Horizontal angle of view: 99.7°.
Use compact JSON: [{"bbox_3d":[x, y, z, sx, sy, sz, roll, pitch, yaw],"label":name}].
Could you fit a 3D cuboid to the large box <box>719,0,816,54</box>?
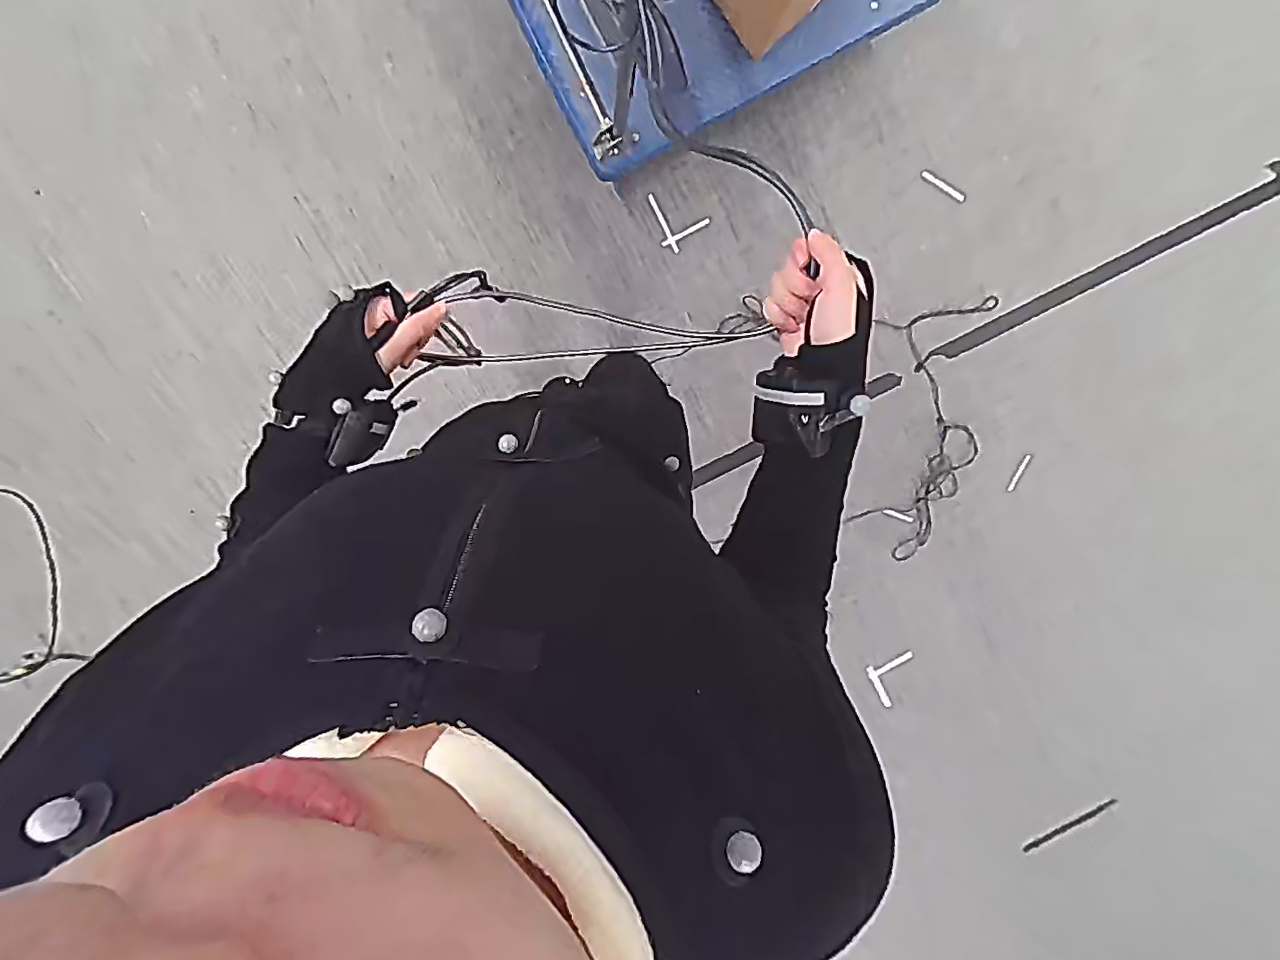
[{"bbox_3d":[0.243,-1.097,0.939,0.320,0.320,0.408,-42,105,5],"label":"large box"}]
